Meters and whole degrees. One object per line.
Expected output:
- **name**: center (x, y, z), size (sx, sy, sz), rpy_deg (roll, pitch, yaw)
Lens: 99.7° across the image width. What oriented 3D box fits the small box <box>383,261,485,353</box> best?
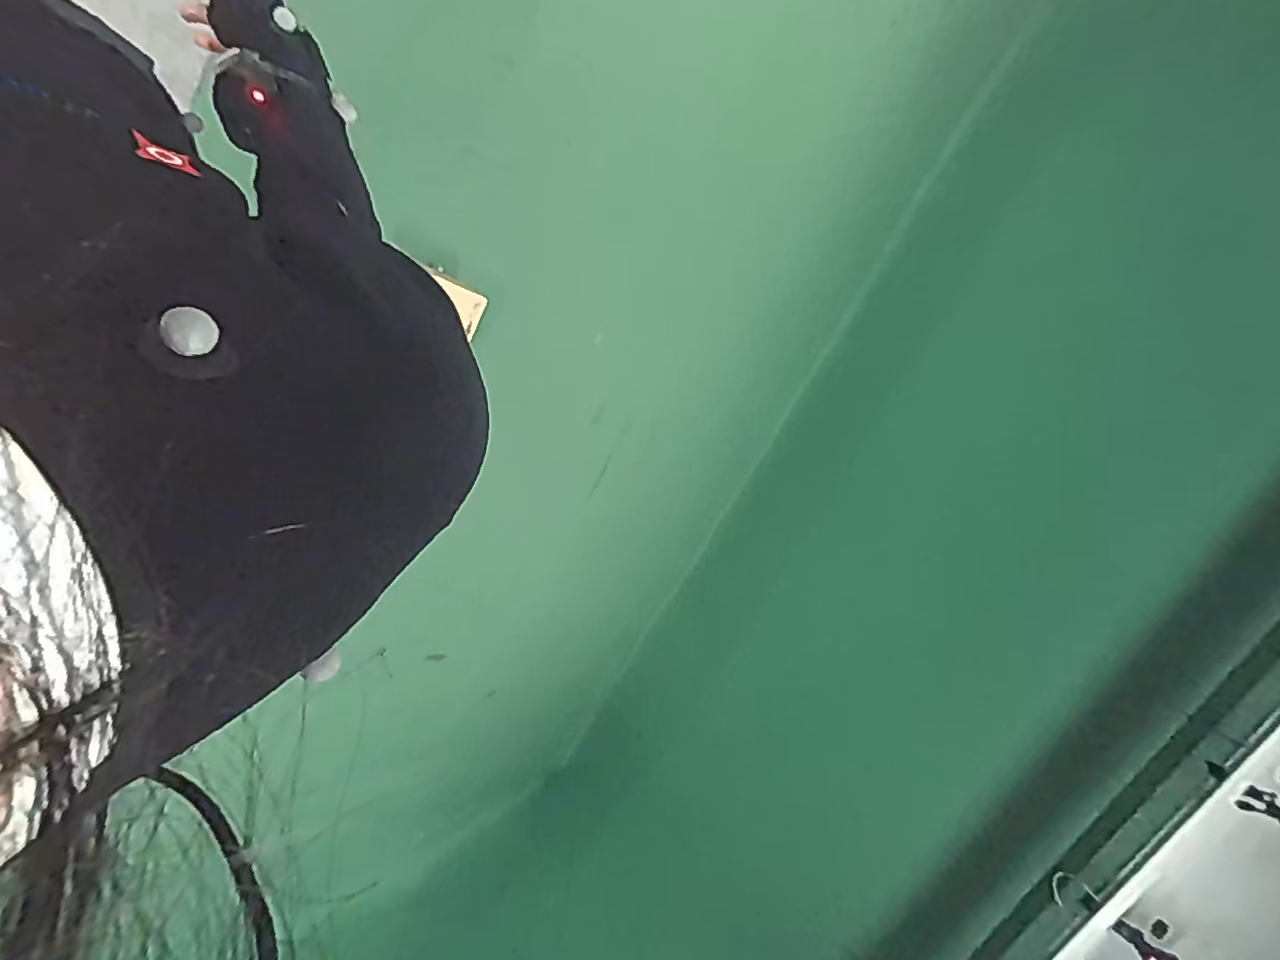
- **small box**: center (-0.565, -0.474, 1.471), size (0.179, 0.176, 0.168), rpy_deg (11, 112, -54)
